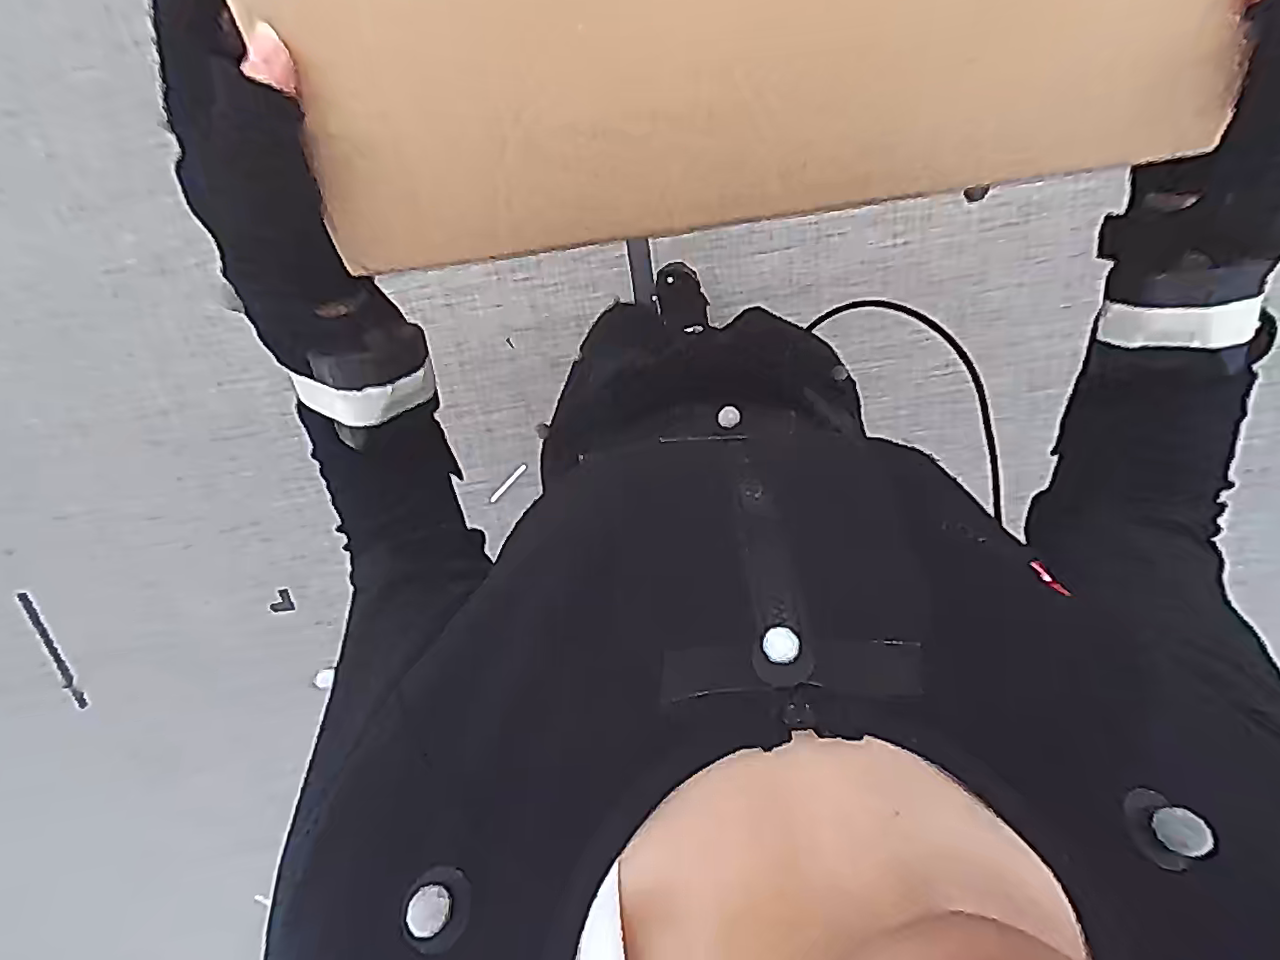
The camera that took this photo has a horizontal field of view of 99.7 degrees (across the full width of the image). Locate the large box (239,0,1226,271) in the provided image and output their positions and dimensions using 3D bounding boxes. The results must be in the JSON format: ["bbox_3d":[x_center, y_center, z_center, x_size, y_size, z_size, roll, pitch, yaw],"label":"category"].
[{"bbox_3d":[0.030,-0.341,0.299,0.408,0.320,0.320,-7,124,5],"label":"large box"}]
